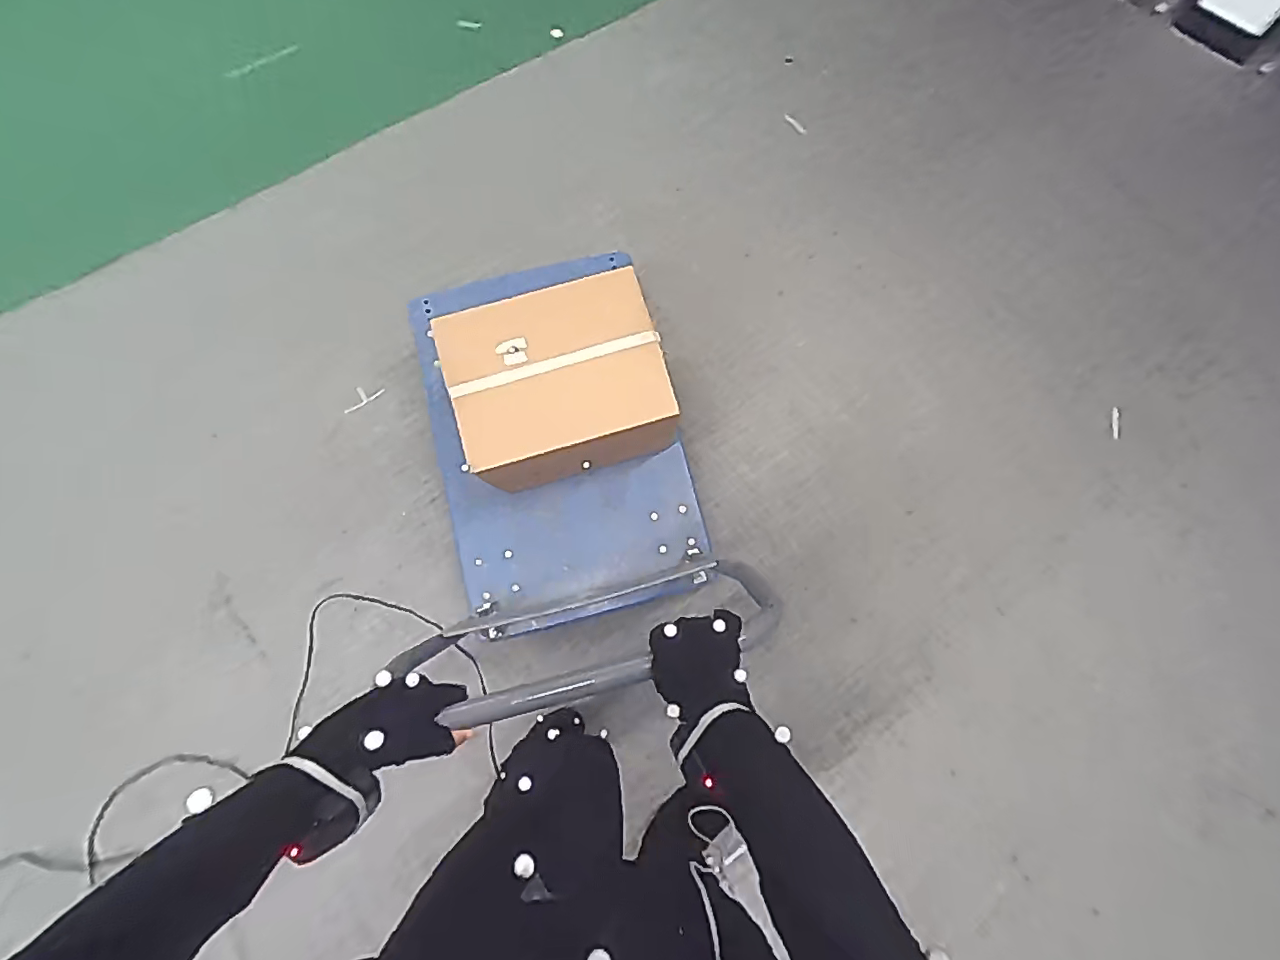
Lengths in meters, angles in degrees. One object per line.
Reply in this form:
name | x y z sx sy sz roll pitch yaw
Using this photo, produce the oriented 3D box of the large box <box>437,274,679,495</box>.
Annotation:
large box | -0.158 -0.183 1.181 0.408 0.320 0.320 -18 82 -2
